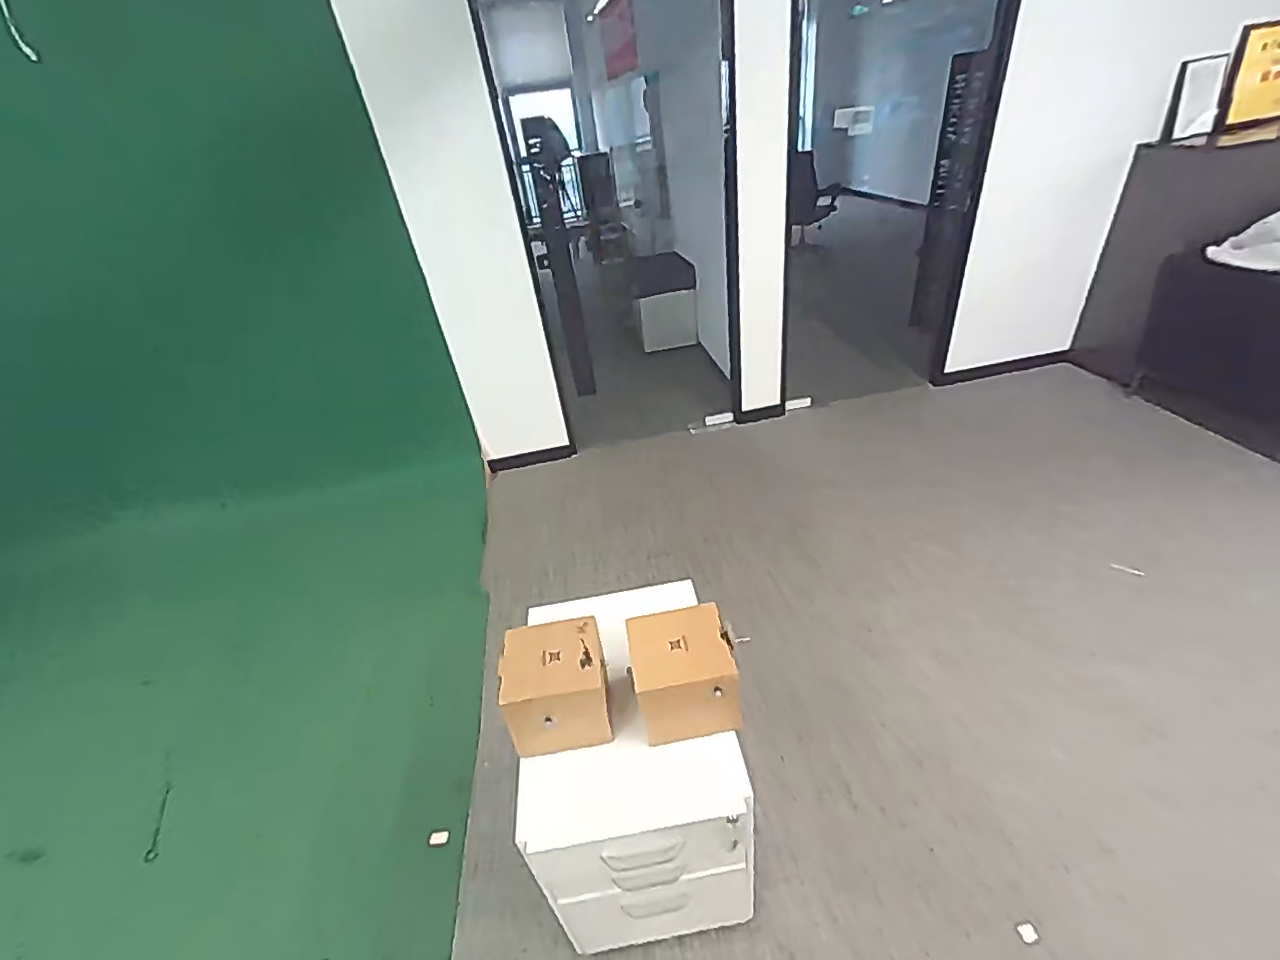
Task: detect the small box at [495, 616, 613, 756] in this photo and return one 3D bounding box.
[{"bbox_3d":[-0.154,0.384,1.004,0.179,0.176,0.168,-9,35,-3],"label":"small box"}]
